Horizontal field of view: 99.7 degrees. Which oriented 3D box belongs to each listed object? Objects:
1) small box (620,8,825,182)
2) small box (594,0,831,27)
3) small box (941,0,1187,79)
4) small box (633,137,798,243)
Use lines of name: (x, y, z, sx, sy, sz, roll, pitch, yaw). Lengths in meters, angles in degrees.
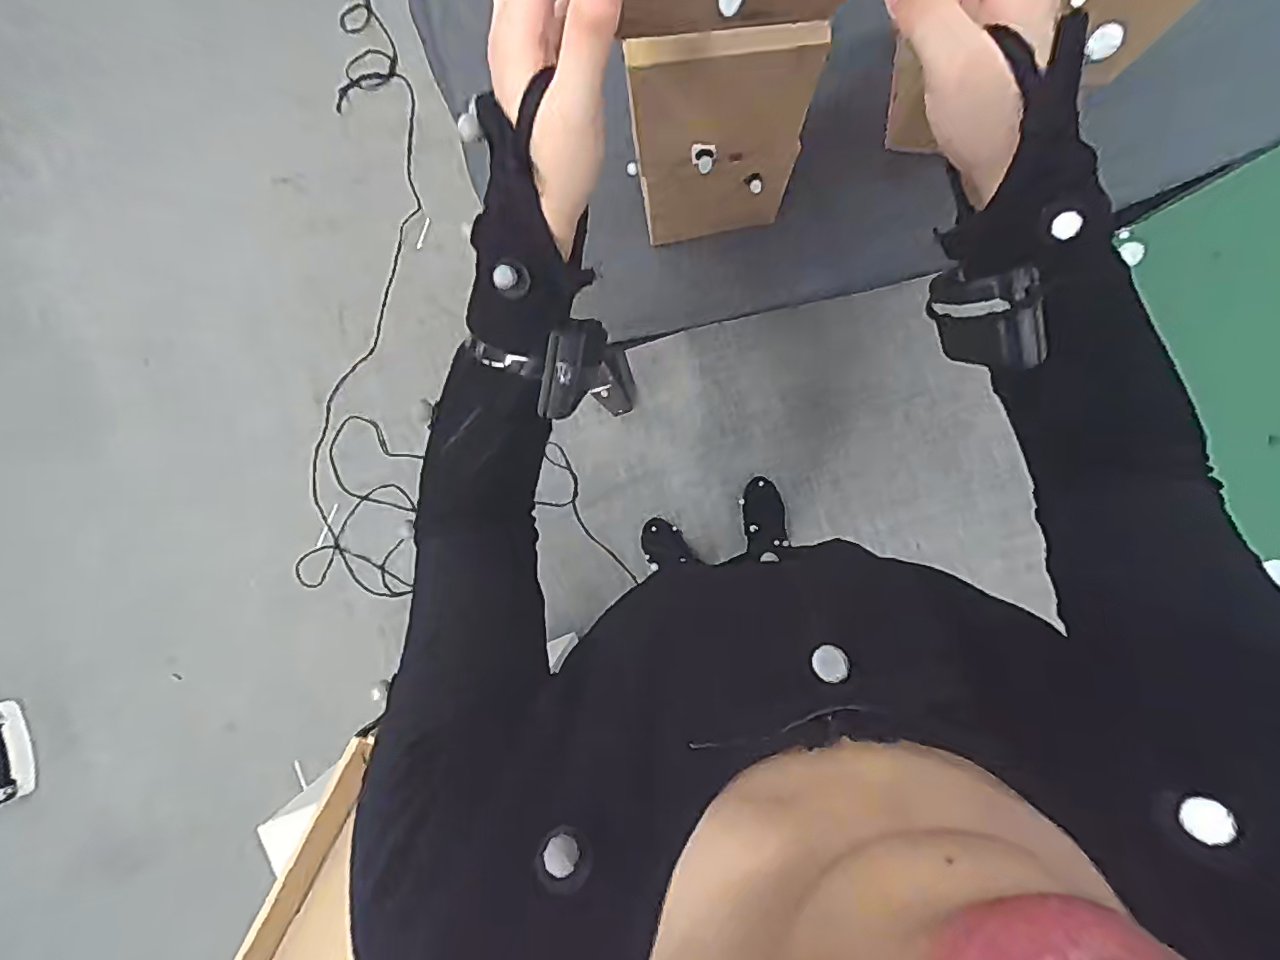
small box: (0.068, -0.422, 0.516, 0.168, 0.176, 0.179, -4, 90, 5)
small box: (0.044, -0.364, 0.273, 0.168, 0.176, 0.179, -4, 112, 3)
small box: (0.413, -0.509, 0.487, 0.179, 0.176, 0.168, 14, 90, 4)
small box: (0.082, -0.424, 0.677, 0.179, 0.176, 0.168, -9, 88, 4)
